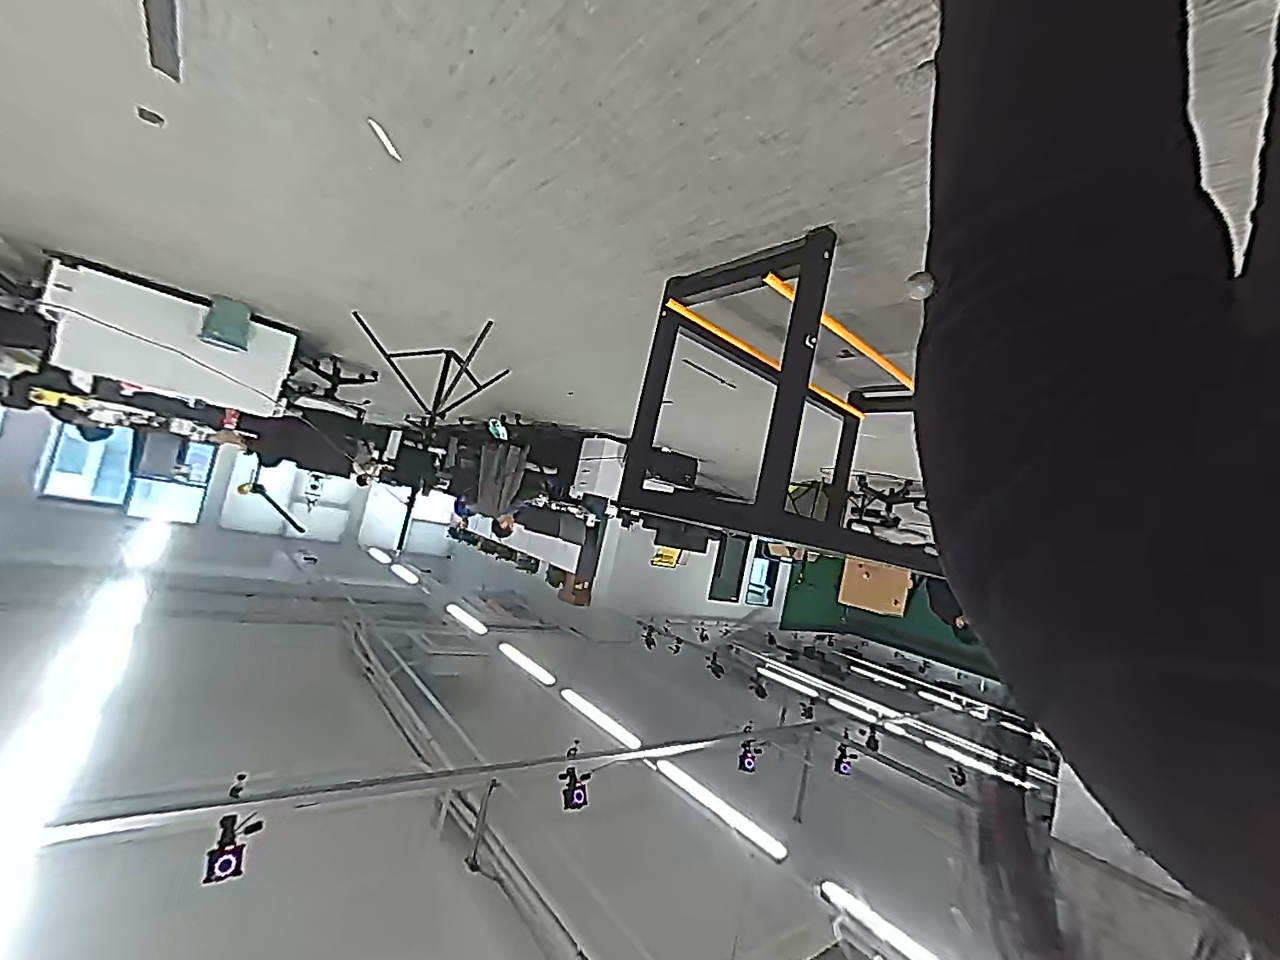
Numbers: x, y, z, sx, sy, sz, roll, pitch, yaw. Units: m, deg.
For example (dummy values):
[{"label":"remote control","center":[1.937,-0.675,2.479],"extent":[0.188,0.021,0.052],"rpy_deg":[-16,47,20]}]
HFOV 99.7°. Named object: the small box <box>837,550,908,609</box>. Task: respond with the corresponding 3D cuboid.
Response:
[{"label":"small box","center":[0.851,0.360,1.970],"extent":[0.179,0.176,0.168],"rpy_deg":[16,174,-39]}]
